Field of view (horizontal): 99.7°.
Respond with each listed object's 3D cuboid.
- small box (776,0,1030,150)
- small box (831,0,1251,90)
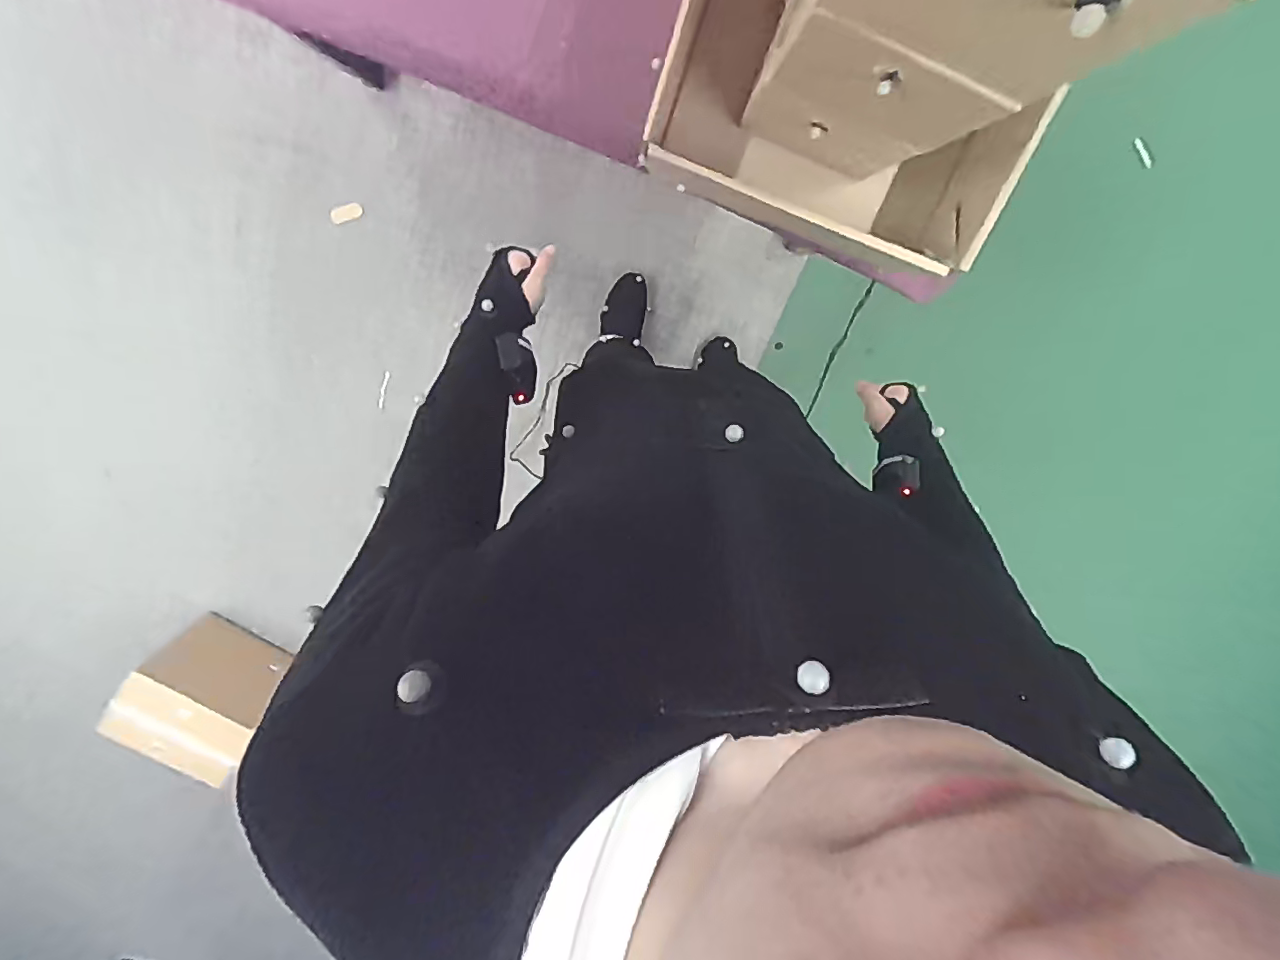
[{"bbox_3d":[0.235,-0.402,0.443,0.179,0.176,0.168,22,110,-7],"label":"small box"},{"bbox_3d":[0.234,-0.346,0.287,0.179,0.176,0.168,21,110,-6],"label":"small box"}]
